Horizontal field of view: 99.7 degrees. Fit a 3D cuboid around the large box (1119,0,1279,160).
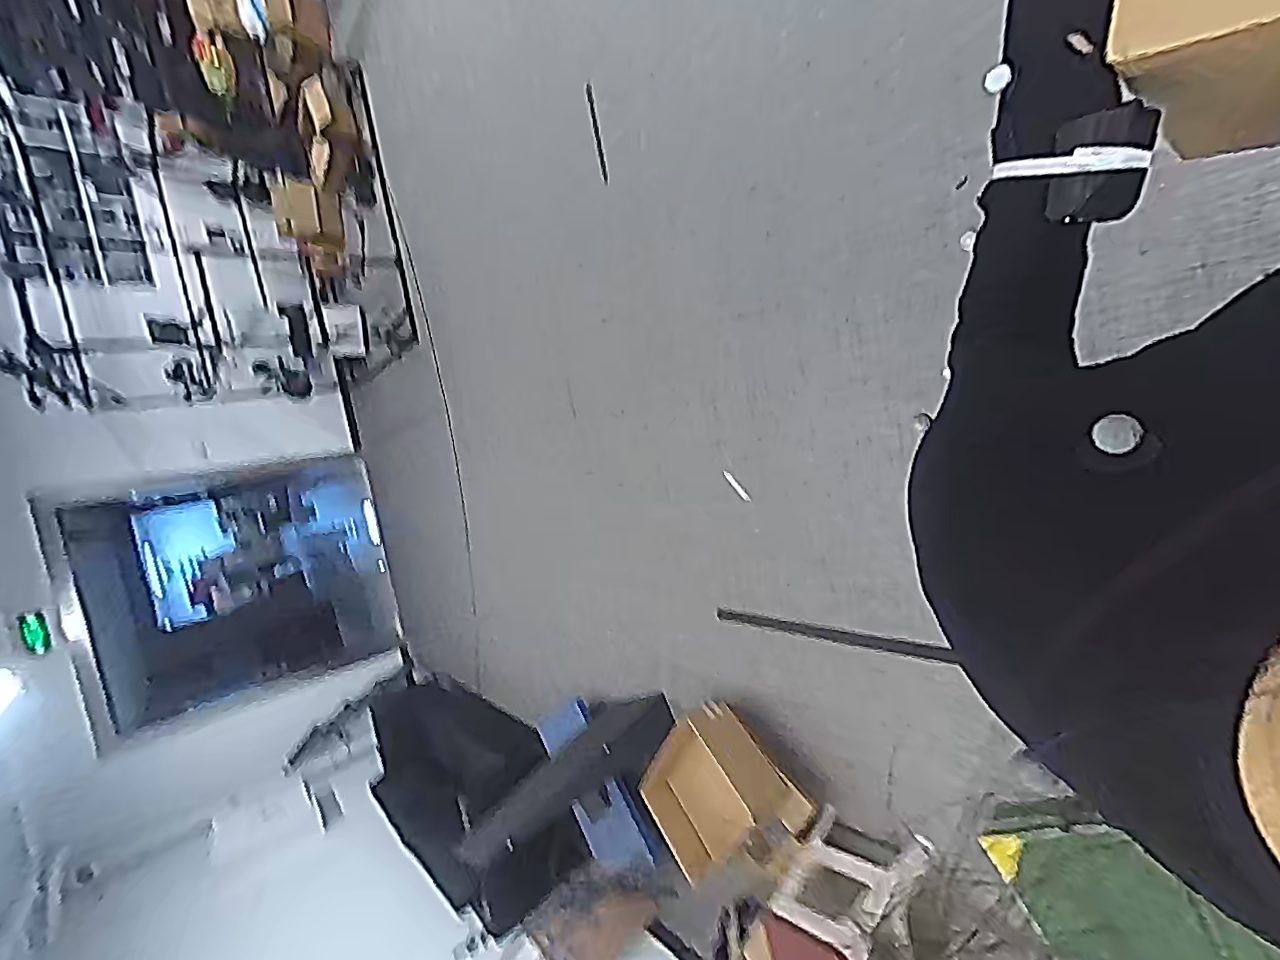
[{"bbox_3d":[0.543,-0.395,0.254,0.408,0.320,0.320,18,114,47],"label":"large box"}]
